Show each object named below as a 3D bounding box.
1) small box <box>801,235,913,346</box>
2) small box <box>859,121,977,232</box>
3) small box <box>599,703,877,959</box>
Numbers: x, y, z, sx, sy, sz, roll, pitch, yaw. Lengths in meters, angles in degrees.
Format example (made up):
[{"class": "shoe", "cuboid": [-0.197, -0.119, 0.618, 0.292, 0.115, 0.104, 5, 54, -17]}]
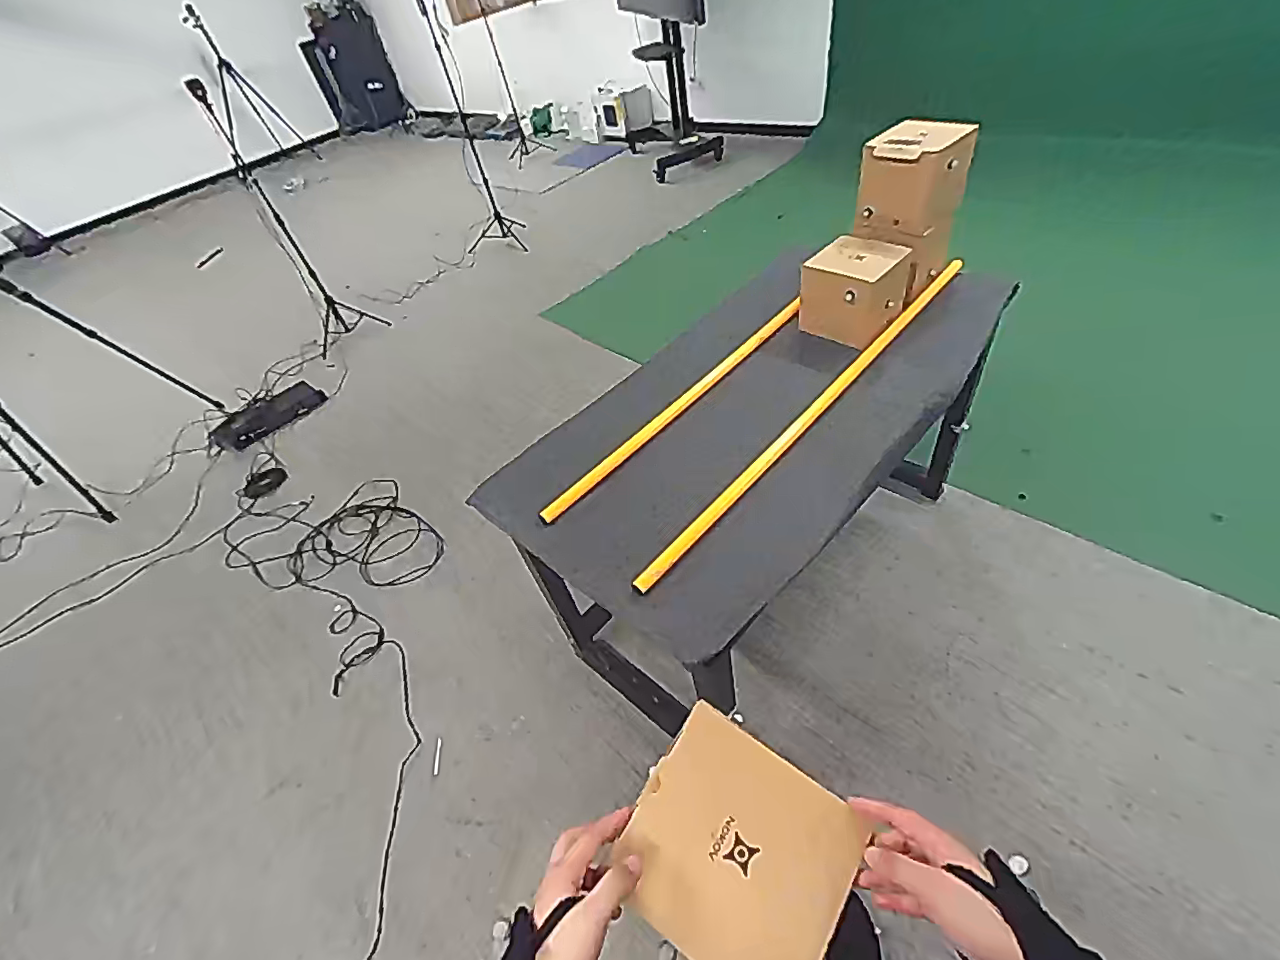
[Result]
[{"class": "small box", "cuboid": [0.490, -0.432, 1.241, 0.168, 0.176, 0.179, -40, 51, -23]}, {"class": "small box", "cuboid": [0.616, -0.683, 1.218, 0.179, 0.176, 0.168, -38, 51, -22]}, {"class": "small box", "cuboid": [0.086, 0.346, 0.515, 0.179, 0.176, 0.168, 31, 64, 21]}]
